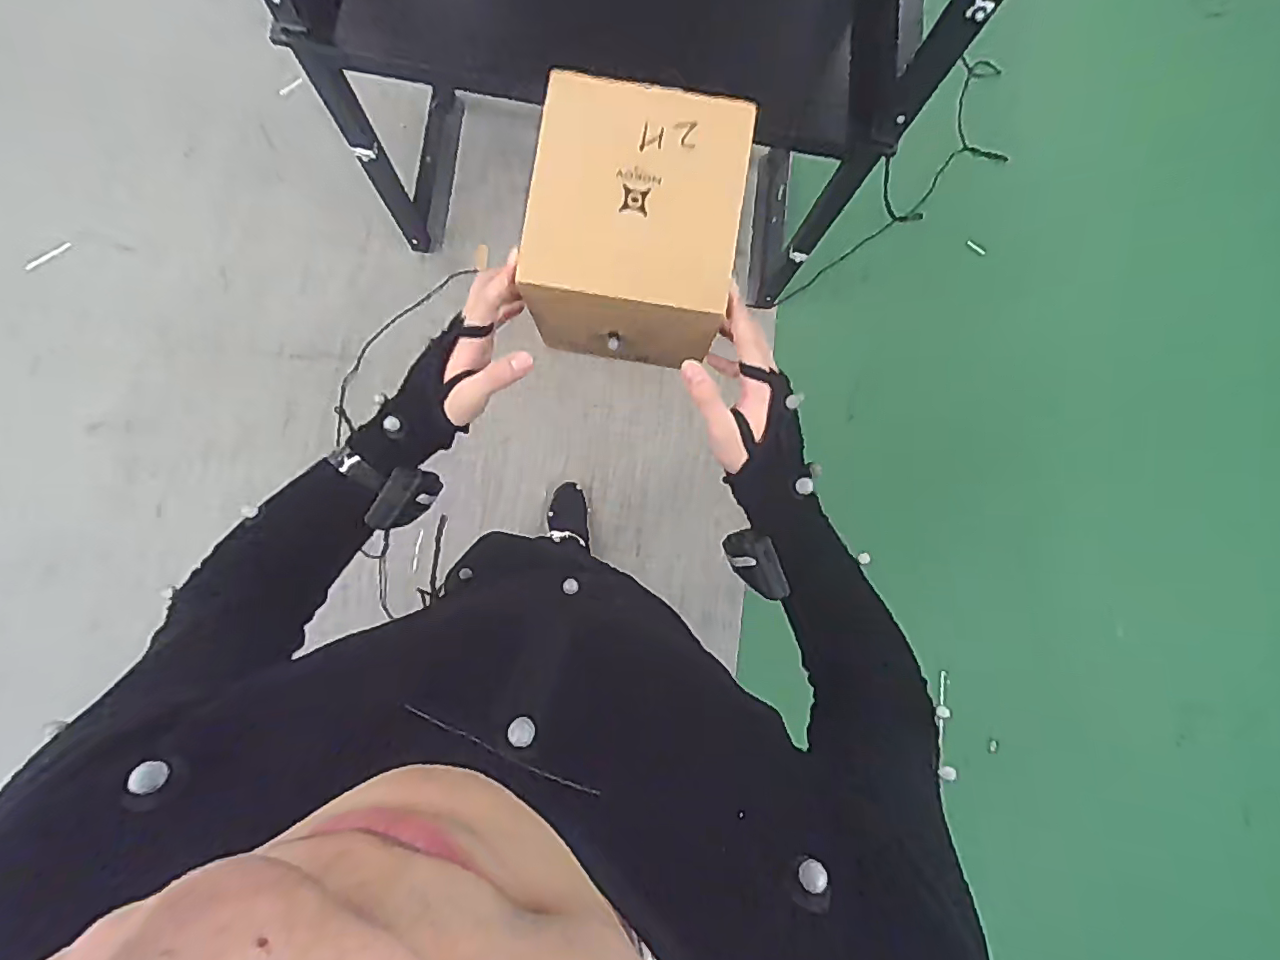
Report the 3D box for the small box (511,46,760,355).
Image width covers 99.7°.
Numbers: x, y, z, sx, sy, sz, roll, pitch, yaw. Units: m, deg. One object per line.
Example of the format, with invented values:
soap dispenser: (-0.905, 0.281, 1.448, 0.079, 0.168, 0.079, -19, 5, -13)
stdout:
small box: (-0.004, -0.226, 0.485, 0.168, 0.176, 0.179, 10, 86, -1)
